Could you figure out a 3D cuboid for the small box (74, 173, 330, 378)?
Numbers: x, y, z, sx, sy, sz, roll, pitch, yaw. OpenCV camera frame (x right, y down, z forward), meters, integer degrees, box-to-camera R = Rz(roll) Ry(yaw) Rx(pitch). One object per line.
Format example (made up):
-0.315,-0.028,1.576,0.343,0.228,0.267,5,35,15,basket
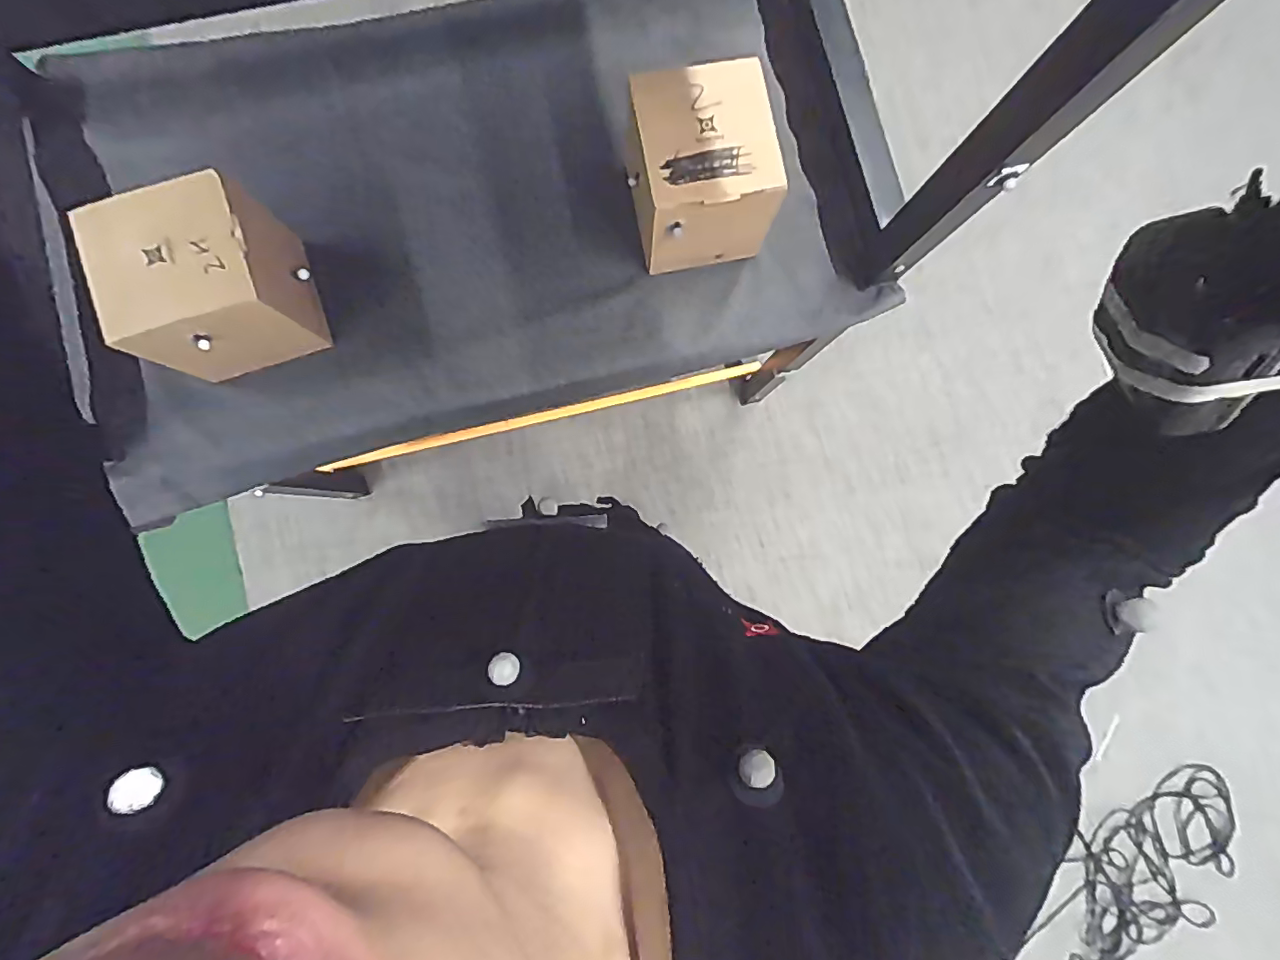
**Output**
-0.545,-0.248,0.697,0.179,0.176,0.168,-19,87,-4,small box
